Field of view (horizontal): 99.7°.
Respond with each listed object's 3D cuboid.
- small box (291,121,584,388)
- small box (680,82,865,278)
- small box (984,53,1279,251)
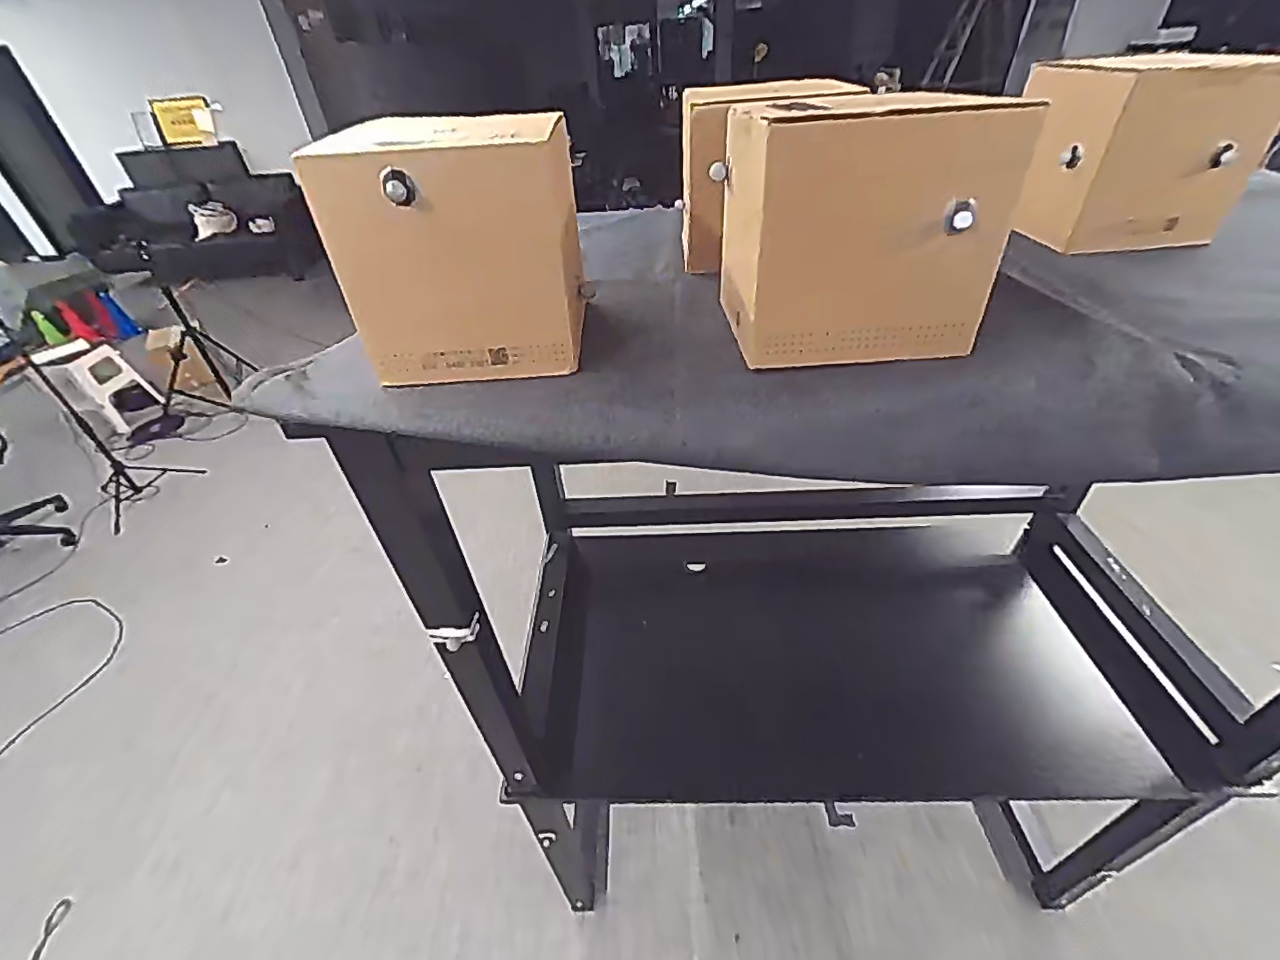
[{"bbox_3d":[-0.141,-0.193,0.458,0.168,0.176,0.179,-4,38,1],"label":"small box"},{"bbox_3d":[0.136,-0.349,0.631,0.179,0.176,0.168,-2,39,3],"label":"small box"},{"bbox_3d":[0.536,-0.367,0.612,0.168,0.176,0.179,-3,39,1],"label":"small box"}]
